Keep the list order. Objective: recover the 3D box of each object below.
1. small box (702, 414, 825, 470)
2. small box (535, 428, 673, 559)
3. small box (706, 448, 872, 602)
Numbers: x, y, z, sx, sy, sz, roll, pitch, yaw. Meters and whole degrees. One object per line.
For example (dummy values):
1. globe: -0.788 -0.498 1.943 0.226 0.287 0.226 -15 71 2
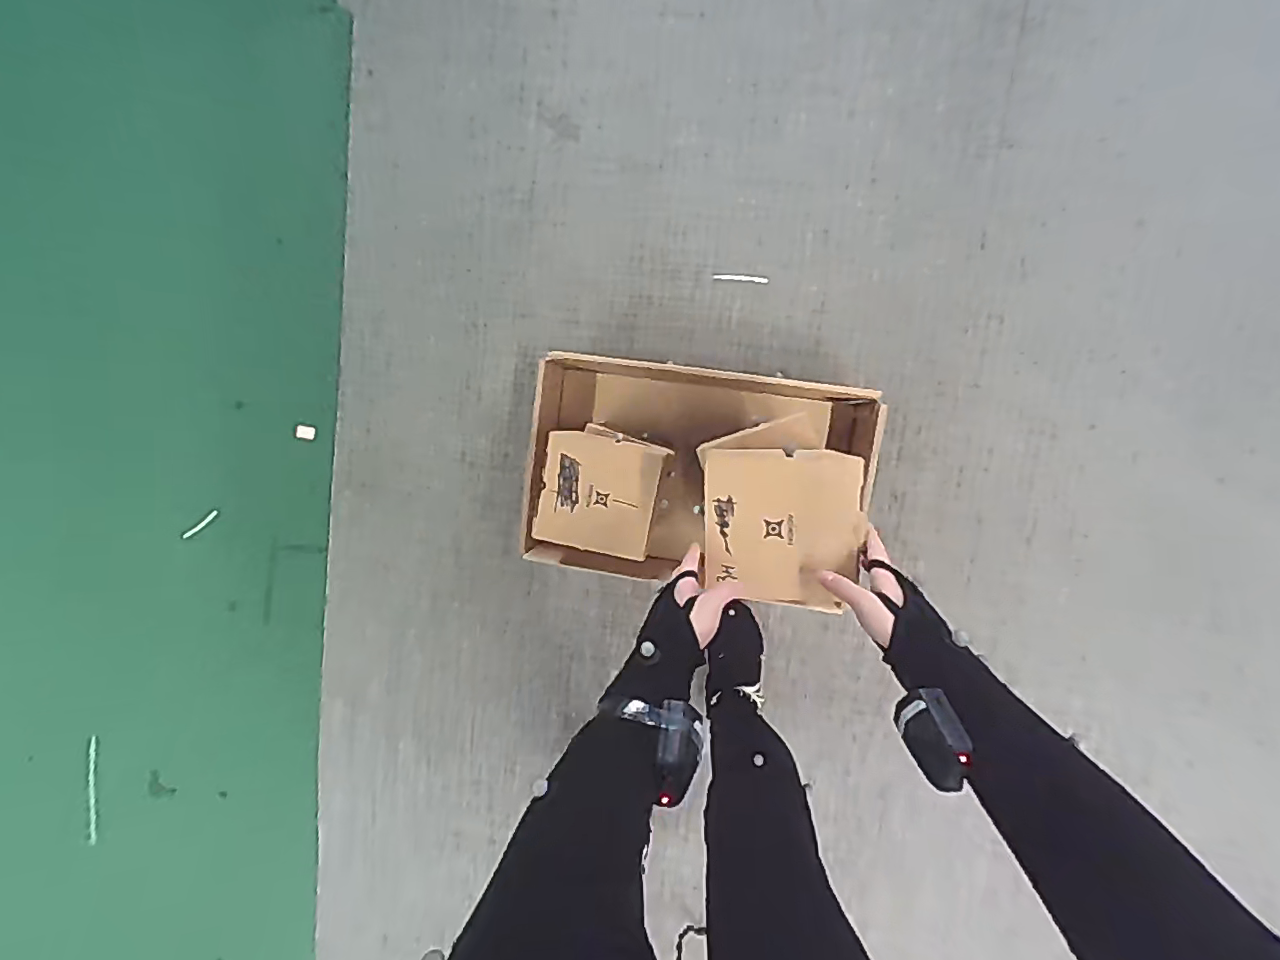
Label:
1. small box: 0.202 0.002 0.842 0.168 0.176 0.179 -18 93 9
2. small box: -0.050 0.015 0.878 0.179 0.176 0.168 12 97 4
3. small box: 0.175 0.046 0.685 0.179 0.176 0.168 1 96 7
